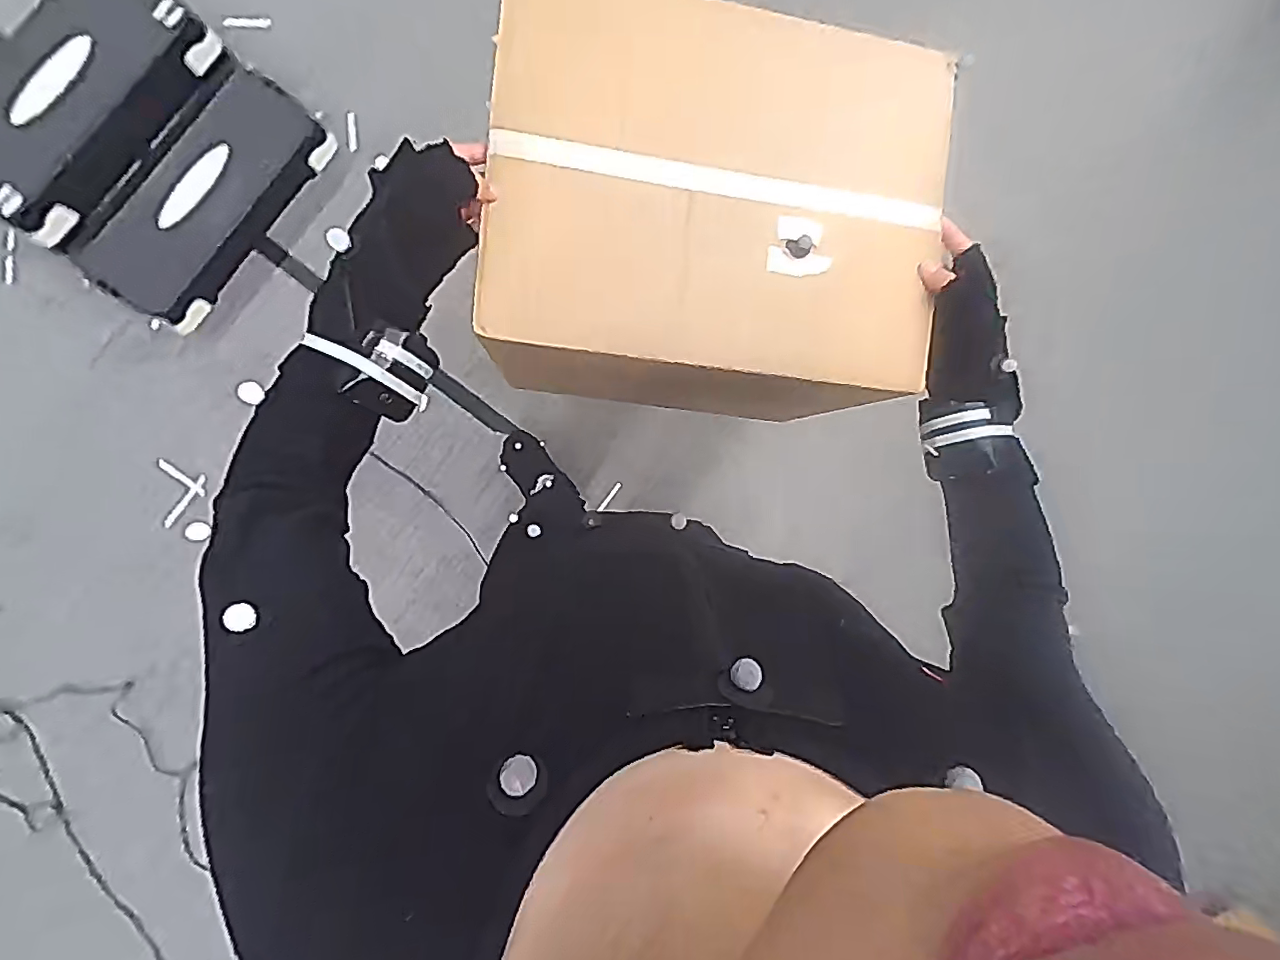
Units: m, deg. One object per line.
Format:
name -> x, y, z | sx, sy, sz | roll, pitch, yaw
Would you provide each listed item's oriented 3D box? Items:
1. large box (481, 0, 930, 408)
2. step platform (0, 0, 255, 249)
large box -> 0.046, -0.266, 0.625 | 0.408, 0.320, 0.320 | 4, 91, -9
step platform -> -1.310, -0.933, 1.329 | 0.286, 0.204, 0.684 | 34, 84, -3
